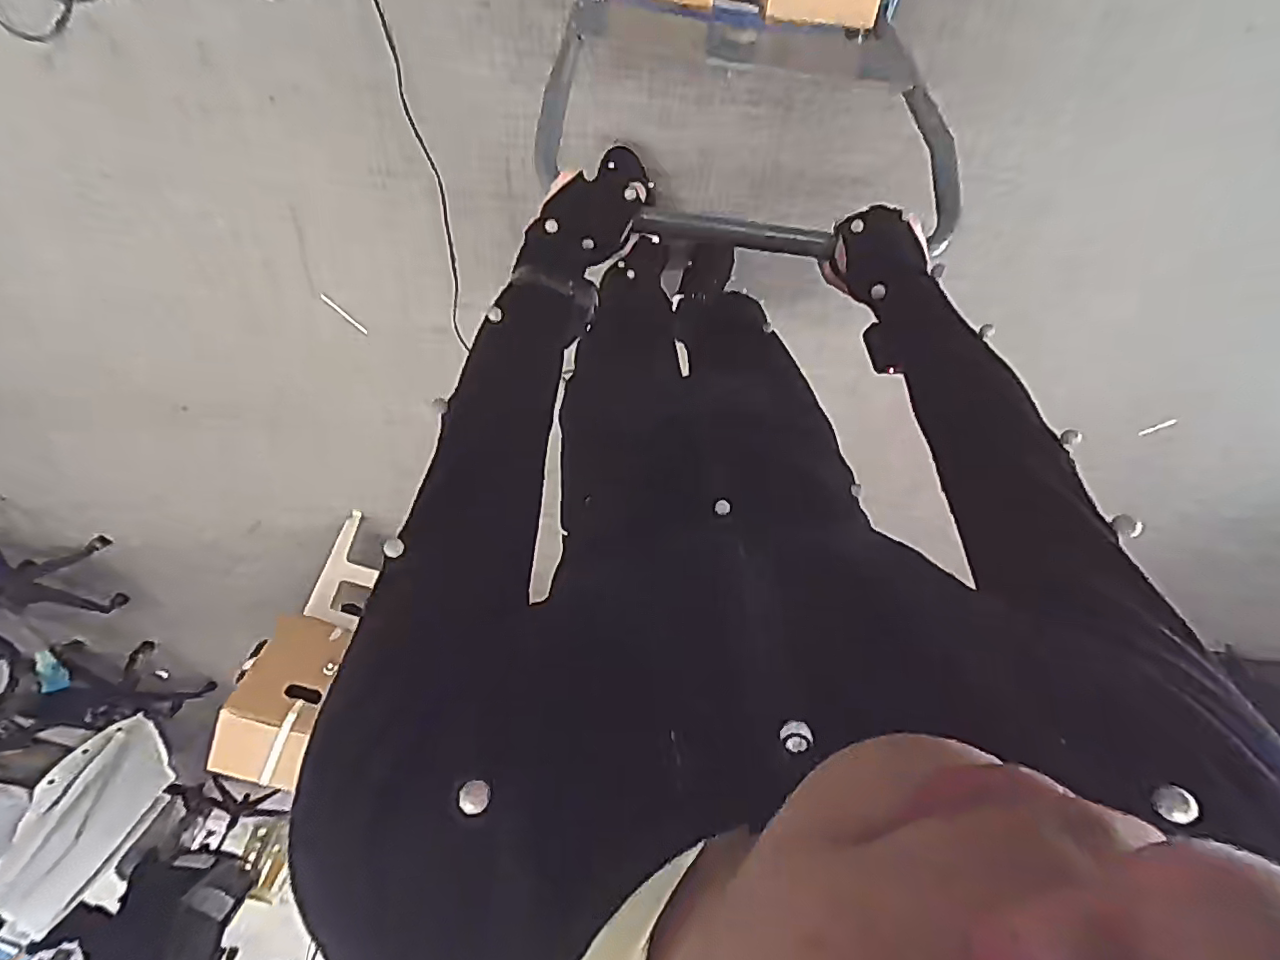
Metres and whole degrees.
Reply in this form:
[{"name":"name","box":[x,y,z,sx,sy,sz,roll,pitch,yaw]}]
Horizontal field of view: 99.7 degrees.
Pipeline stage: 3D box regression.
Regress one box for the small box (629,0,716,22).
[{"name":"small box","box":[0.053,-0.853,0.827,0.168,0.176,0.179,9,143,-7]}]
